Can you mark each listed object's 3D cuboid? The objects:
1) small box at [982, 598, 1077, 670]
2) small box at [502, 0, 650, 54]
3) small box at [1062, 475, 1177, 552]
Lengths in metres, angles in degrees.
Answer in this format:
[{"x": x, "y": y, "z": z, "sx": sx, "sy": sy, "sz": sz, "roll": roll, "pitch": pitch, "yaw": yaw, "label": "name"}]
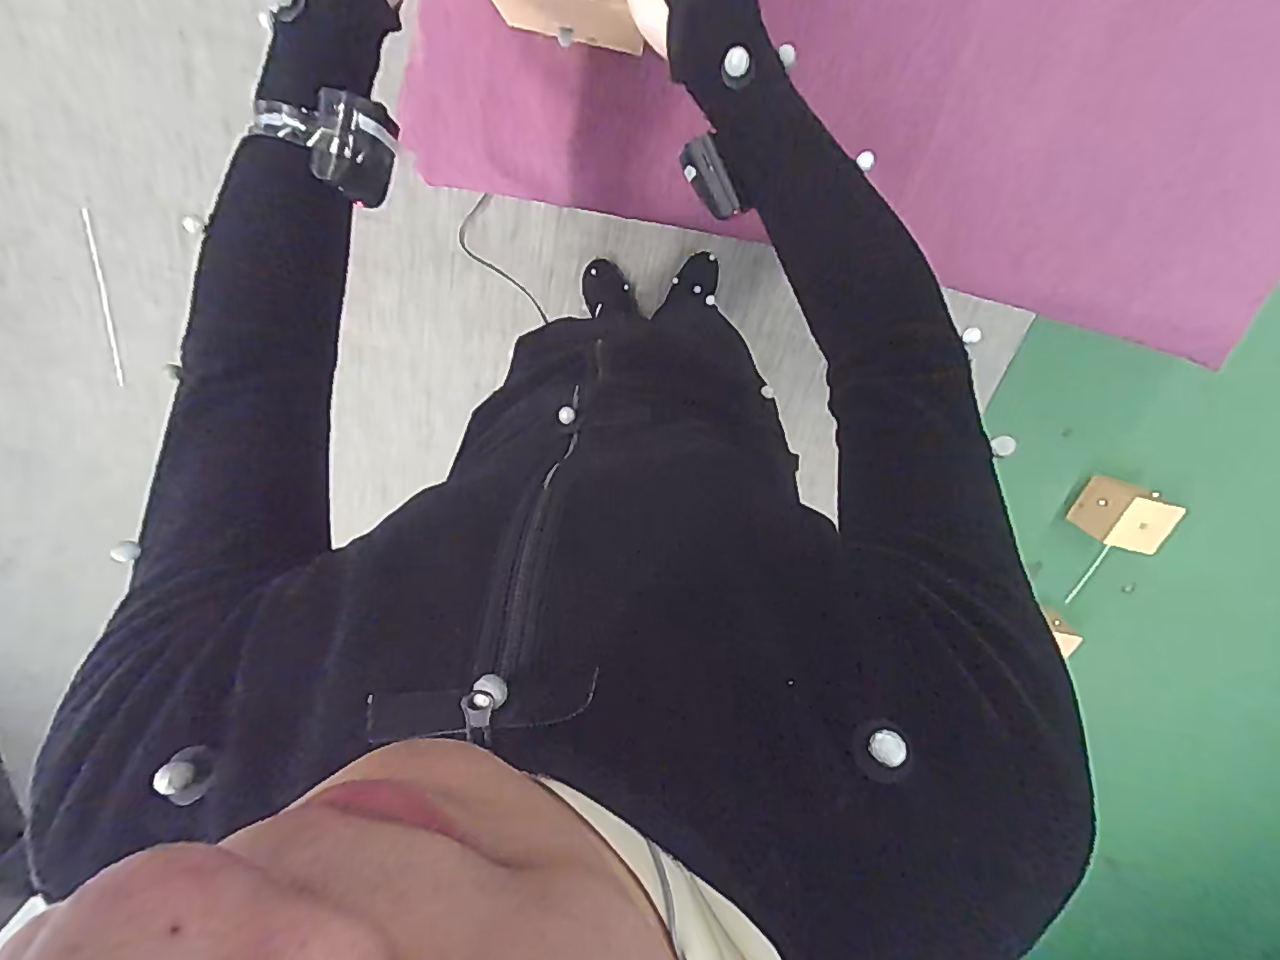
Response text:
[{"x": 1.365, "y": 0.539, "z": 1.907, "sx": 0.179, "sy": 0.176, "sz": 0.168, "roll": 13, "pitch": 115, "yaw": -7, "label": "small box"}, {"x": -0.060, "y": -0.571, "z": 0.543, "sx": 0.168, "sy": 0.176, "sz": 0.179, "roll": 9, "pitch": 116, "yaw": -5, "label": "small box"}, {"x": 1.493, "y": 0.099, "z": 1.700, "sx": 0.179, "sy": 0.176, "sz": 0.168, "roll": 12, "pitch": 115, "yaw": -7, "label": "small box"}]
